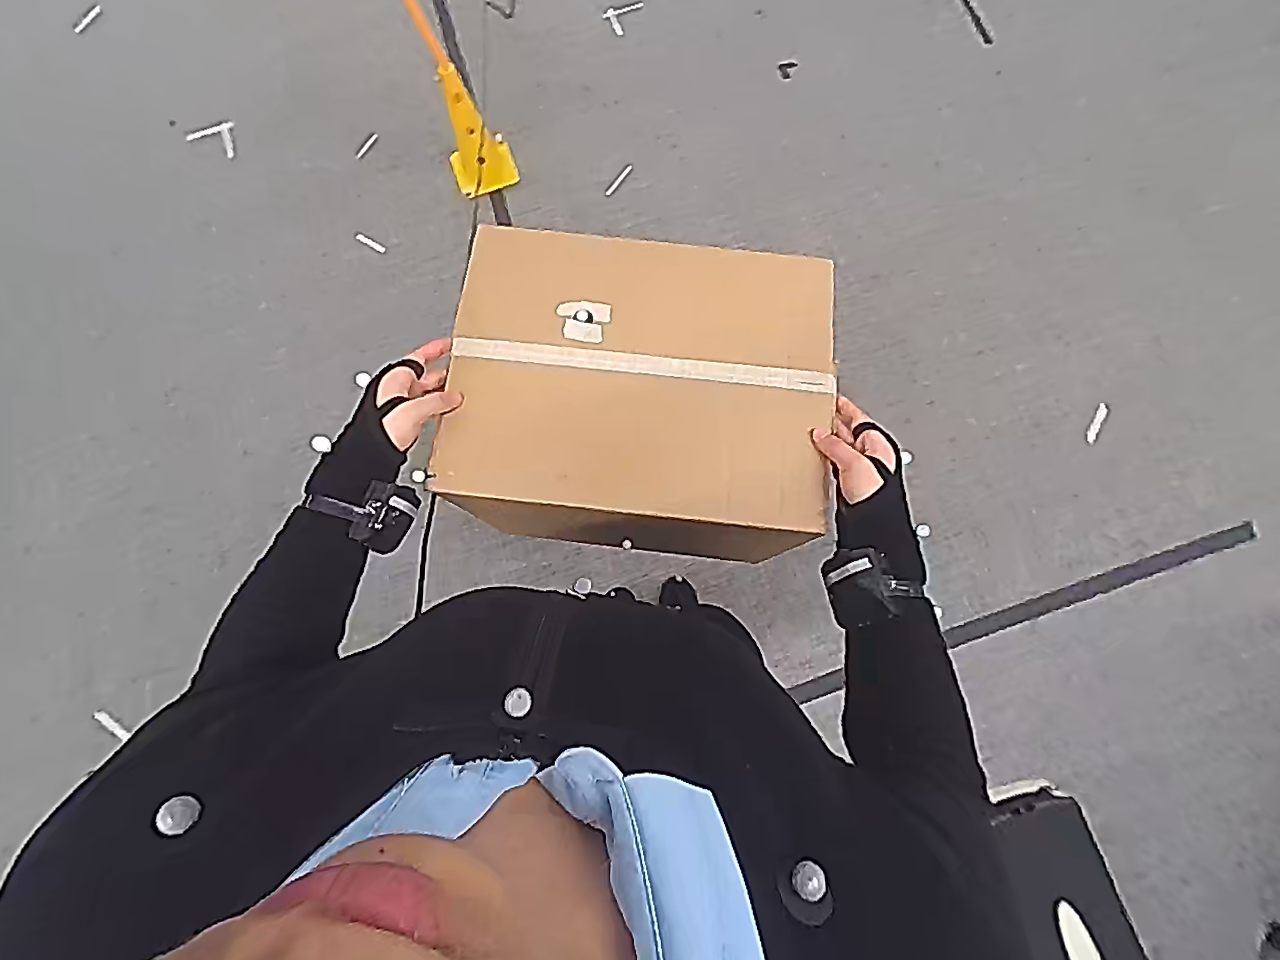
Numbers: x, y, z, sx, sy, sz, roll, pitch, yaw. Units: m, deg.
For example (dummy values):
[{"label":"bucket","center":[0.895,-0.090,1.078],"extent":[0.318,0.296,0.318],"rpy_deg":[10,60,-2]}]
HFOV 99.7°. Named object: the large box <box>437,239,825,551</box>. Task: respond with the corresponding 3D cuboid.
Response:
[{"label":"large box","center":[0.002,-0.083,0.729],"extent":[0.408,0.320,0.320],"rpy_deg":[5,75,1]}]
